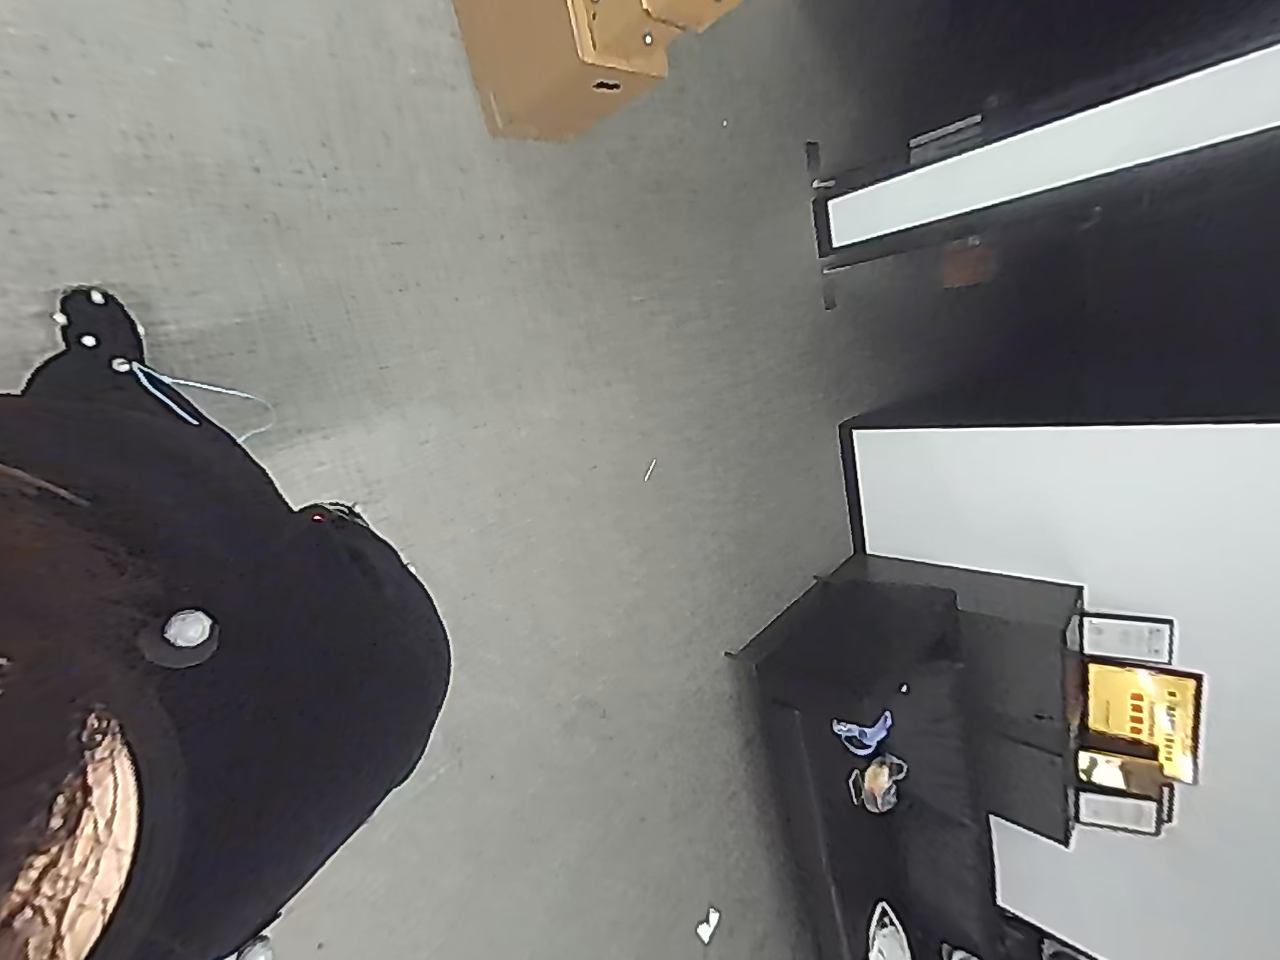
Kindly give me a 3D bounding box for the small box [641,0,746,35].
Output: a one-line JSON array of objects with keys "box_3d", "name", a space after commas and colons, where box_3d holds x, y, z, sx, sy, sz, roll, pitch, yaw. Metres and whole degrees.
[{"box_3d": [0.110, -1.101, 1.157, 0.179, 0.176, 0.168, -23, 107, -40], "name": "small box"}]
